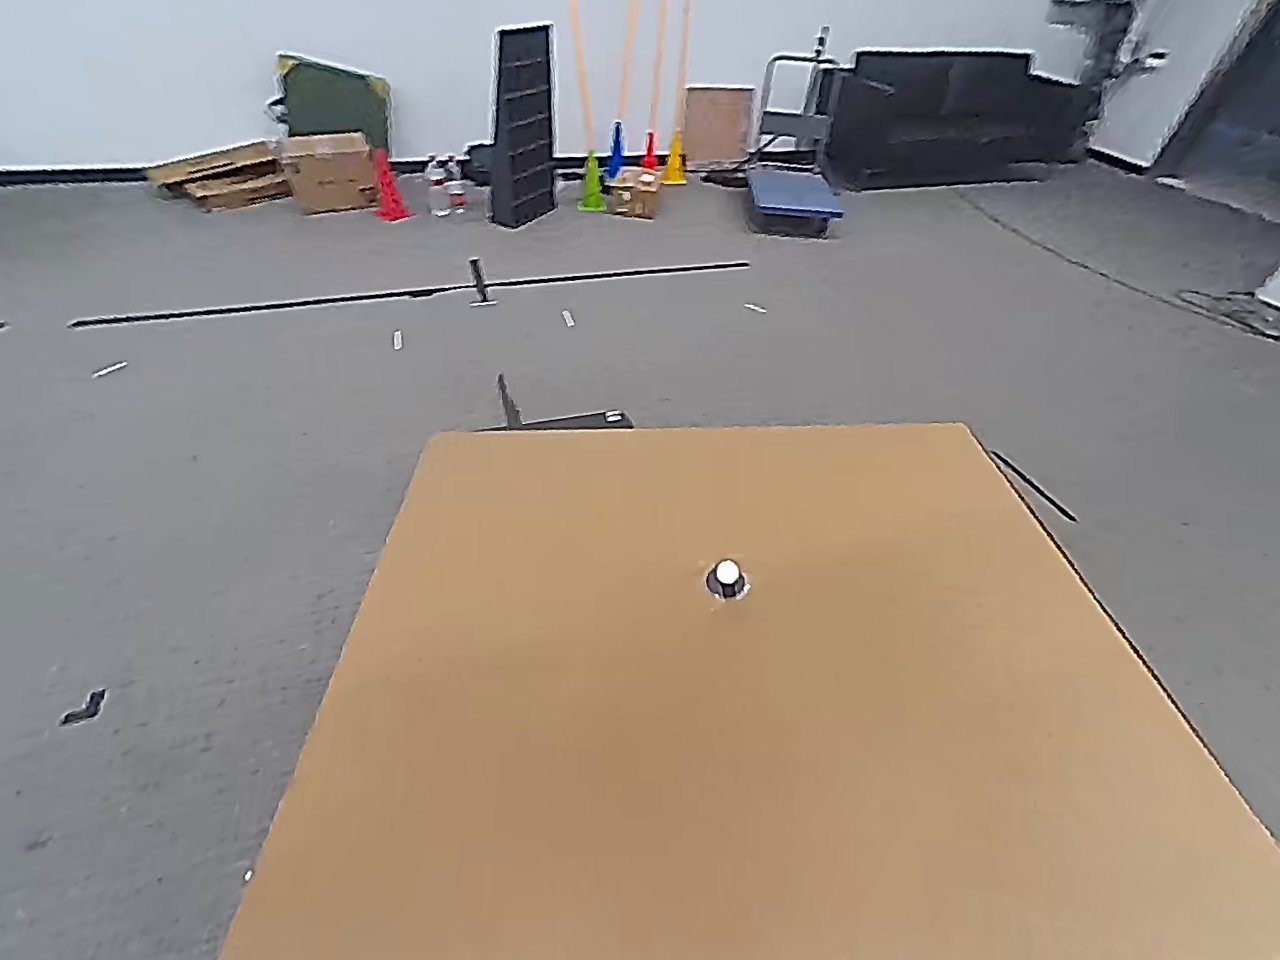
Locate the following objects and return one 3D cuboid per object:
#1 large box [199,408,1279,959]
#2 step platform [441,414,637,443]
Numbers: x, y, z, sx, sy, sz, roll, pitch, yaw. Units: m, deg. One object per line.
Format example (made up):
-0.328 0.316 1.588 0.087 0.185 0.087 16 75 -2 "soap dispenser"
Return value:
0.031 0.169 0.400 0.408 0.320 0.320 -4 46 -1 "large box"
-0.320 -0.045 1.816 0.684 0.204 0.286 -6 47 -12 "step platform"
